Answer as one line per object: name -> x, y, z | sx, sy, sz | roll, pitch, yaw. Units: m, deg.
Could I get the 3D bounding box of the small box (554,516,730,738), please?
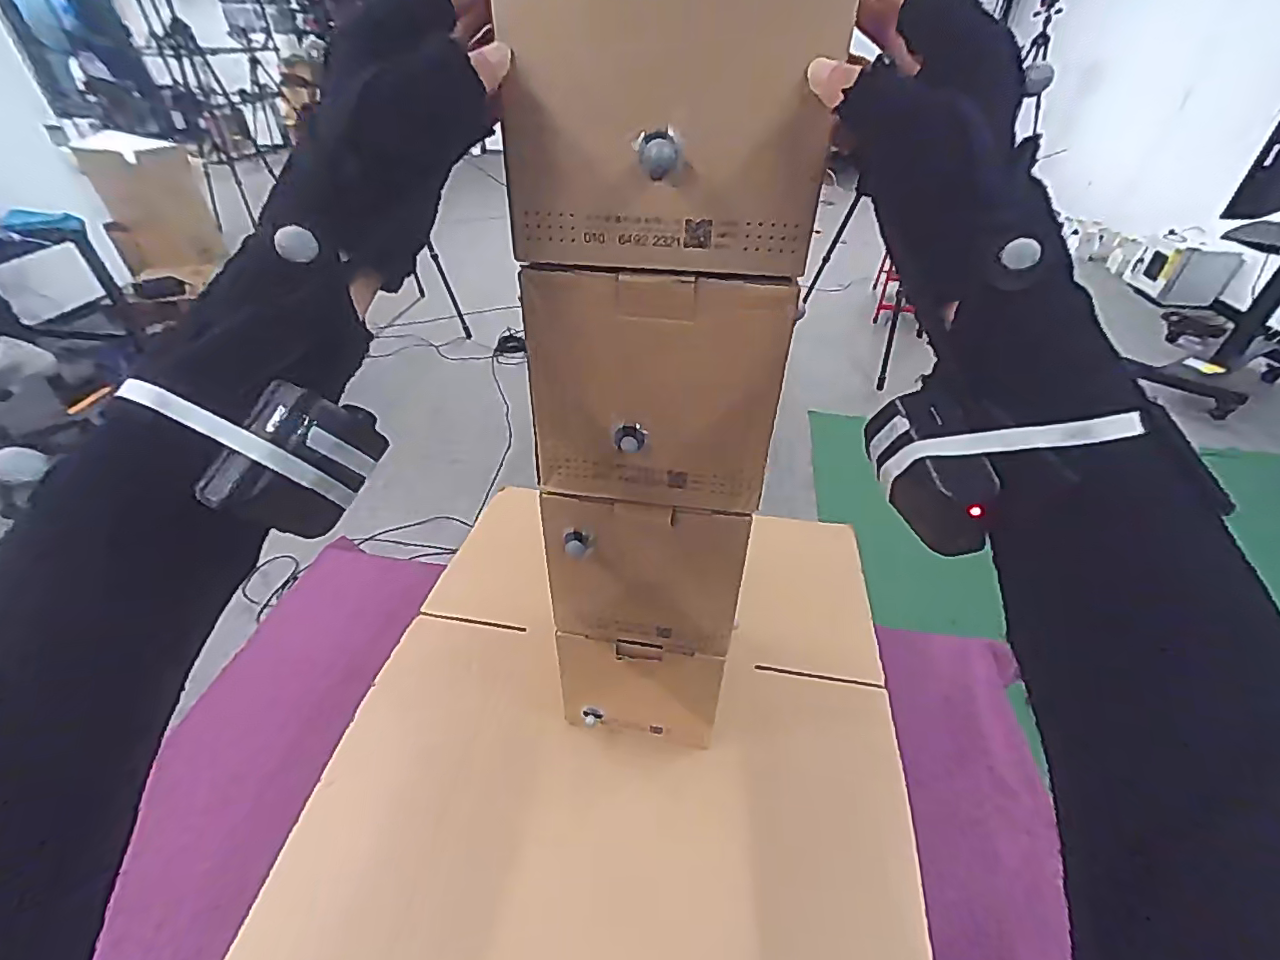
small box -> 0.011, 0.168, 0.625 | 0.168, 0.176, 0.179 | 7, 37, 7

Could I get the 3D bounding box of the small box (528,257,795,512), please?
small box -> 0.019, -0.099, 0.435 | 0.168, 0.176, 0.179 | 6, 37, 5

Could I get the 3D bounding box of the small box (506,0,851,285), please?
small box -> 0.020, -0.234, 0.337 | 0.168, 0.176, 0.179 | 4, 35, 4
